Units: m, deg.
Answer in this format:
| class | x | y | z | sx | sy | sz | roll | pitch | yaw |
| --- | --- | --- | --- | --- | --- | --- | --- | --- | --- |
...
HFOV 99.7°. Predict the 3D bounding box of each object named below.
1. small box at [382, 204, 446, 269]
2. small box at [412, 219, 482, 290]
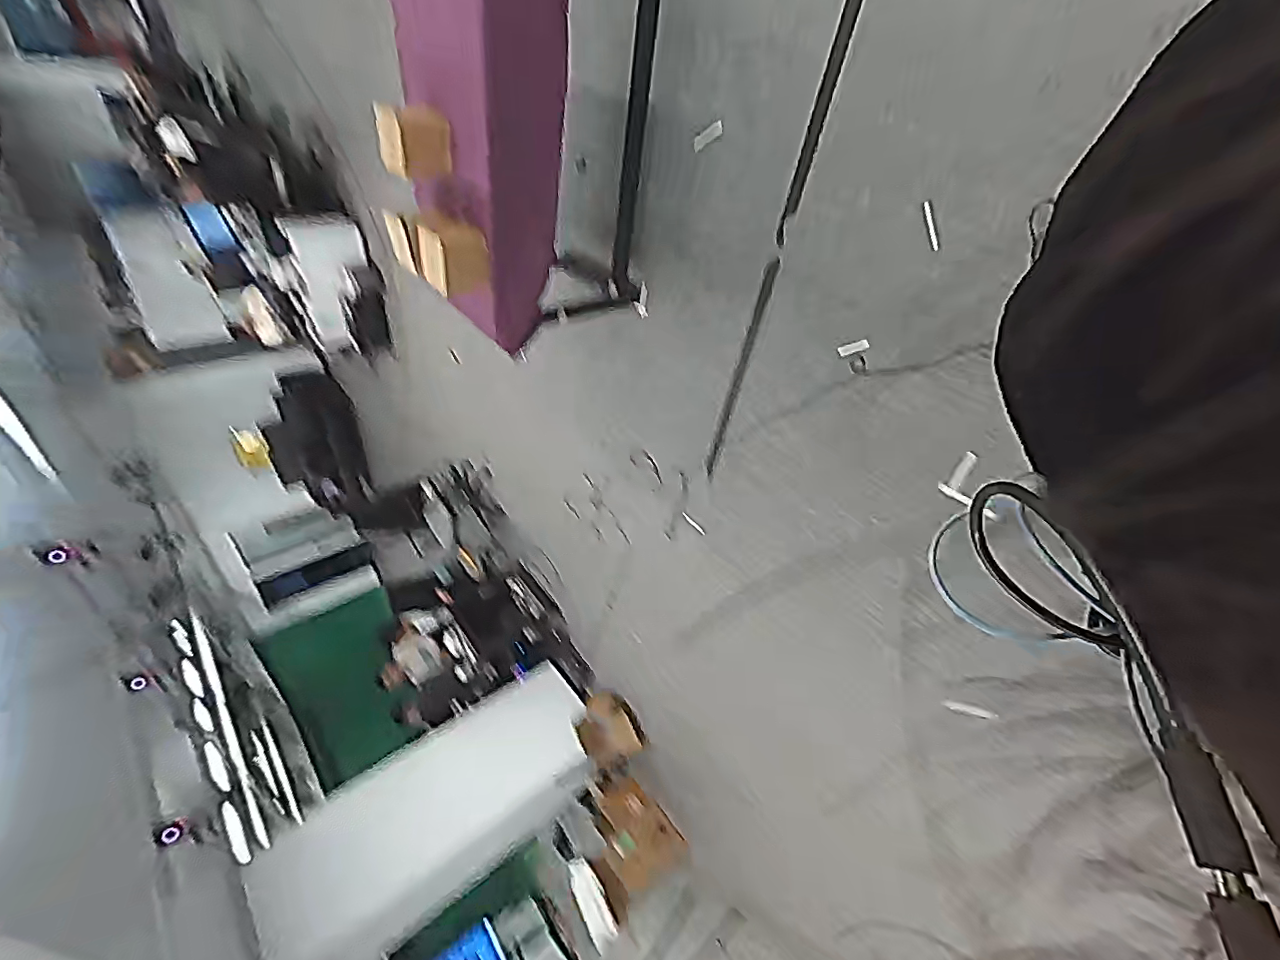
| class | x | y | z | sx | sy | sz | roll | pitch | yaw |
| --- | --- | --- | --- | --- | --- | --- | --- | --- | --- |
| small box | -0.809 | -0.891 | 1.968 | 0.168 | 0.176 | 0.179 | 38 | 137 | 32 |
| small box | -0.648 | -0.768 | 1.834 | 0.168 | 0.176 | 0.179 | 40 | 138 | 31 |
